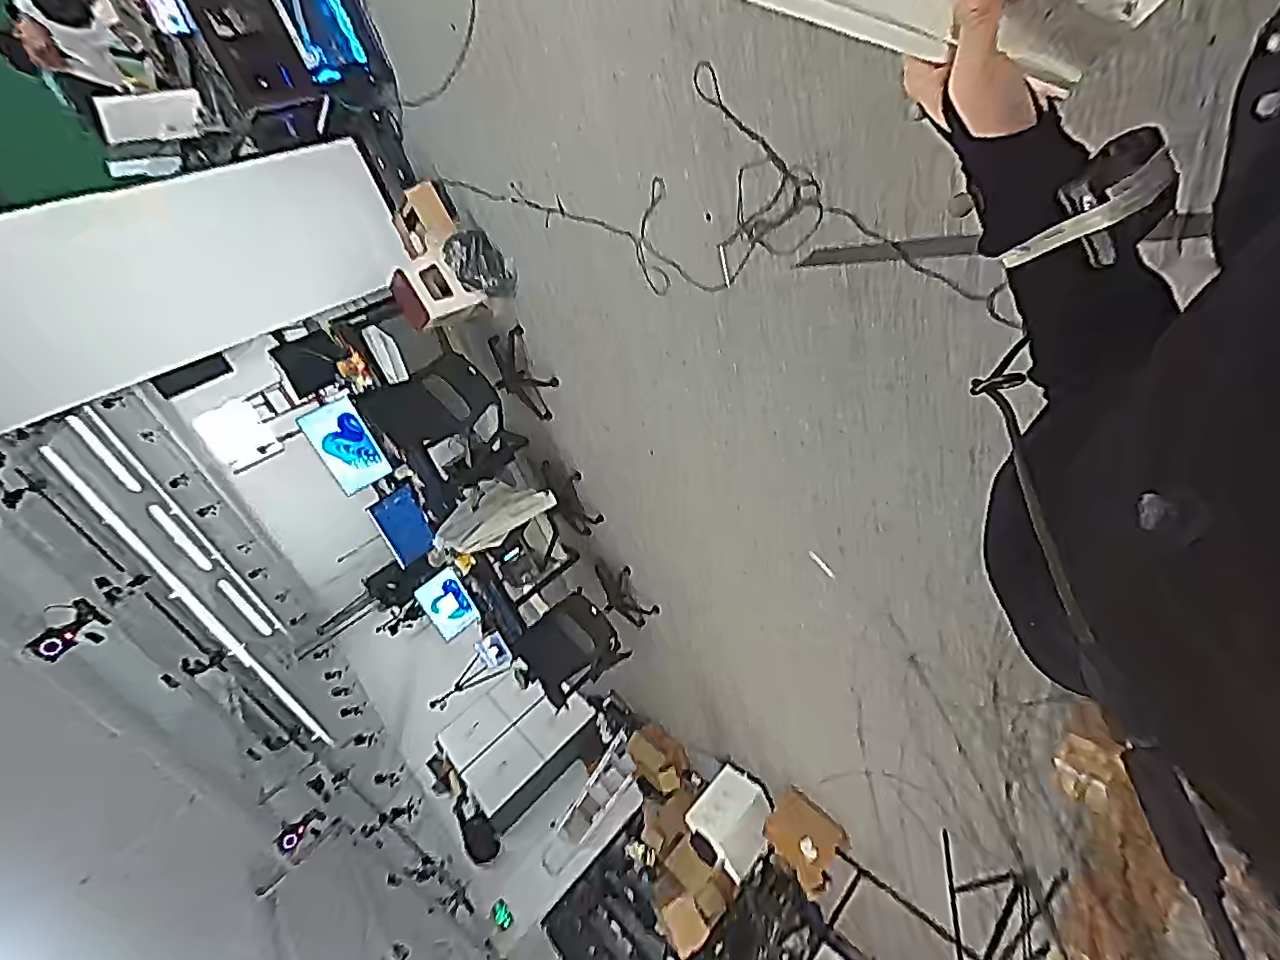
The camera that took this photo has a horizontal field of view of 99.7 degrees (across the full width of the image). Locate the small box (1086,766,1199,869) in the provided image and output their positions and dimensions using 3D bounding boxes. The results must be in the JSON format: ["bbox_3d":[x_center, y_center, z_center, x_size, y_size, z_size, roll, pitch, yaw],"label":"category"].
[{"bbox_3d":[1.303,0.890,1.403,0.168,0.176,0.179,24,141,43],"label":"small box"}]

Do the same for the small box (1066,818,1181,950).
[{"bbox_3d":[1.190,0.985,1.332,0.168,0.176,0.179,22,138,45],"label":"small box"}]
